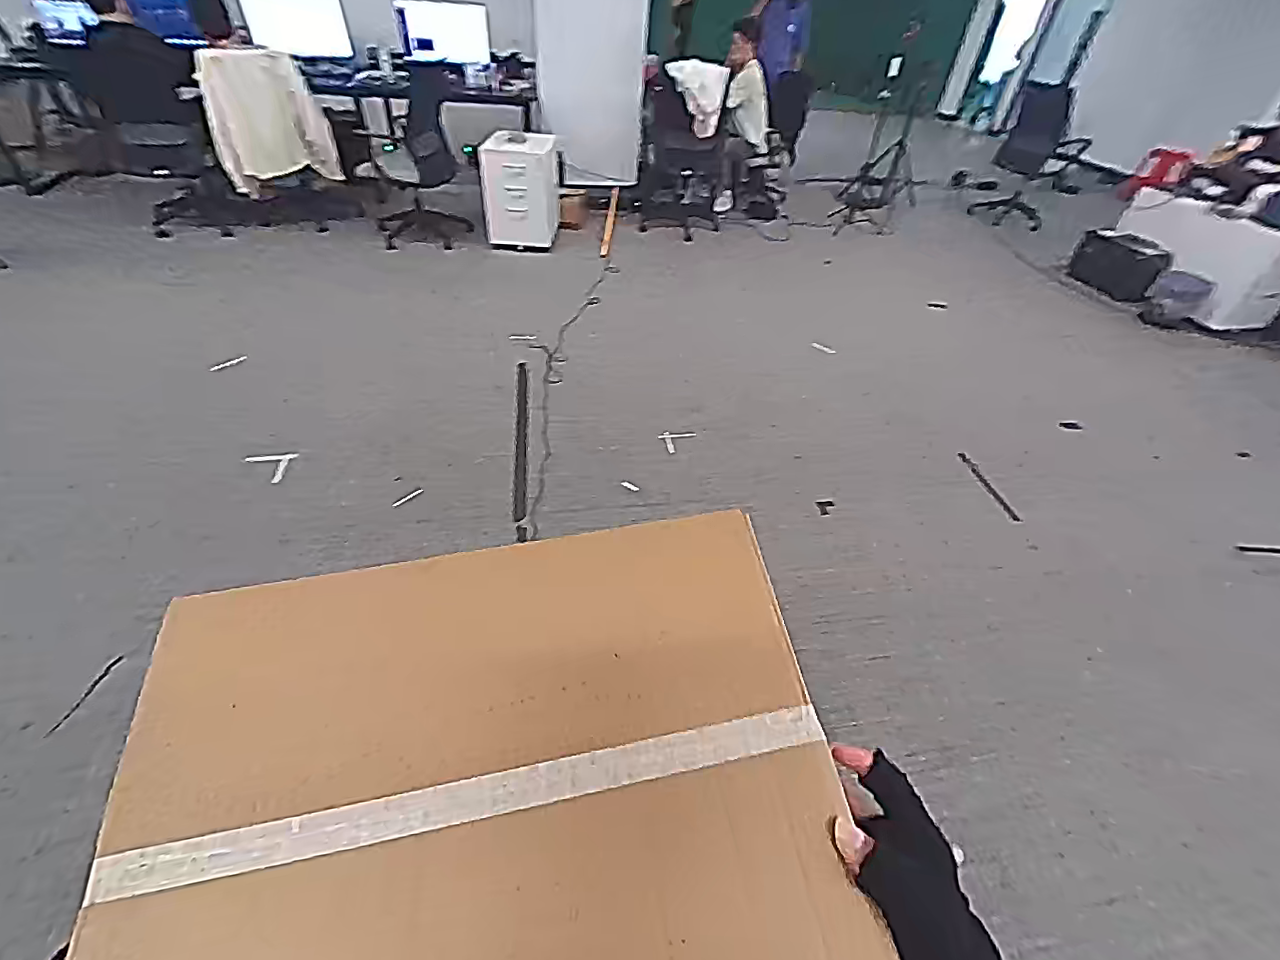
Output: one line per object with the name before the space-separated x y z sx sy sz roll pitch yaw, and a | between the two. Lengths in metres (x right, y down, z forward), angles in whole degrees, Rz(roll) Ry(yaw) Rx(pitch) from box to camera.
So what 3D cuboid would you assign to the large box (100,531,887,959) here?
large box | -0.086 0.274 0.441 0.408 0.320 0.320 -8 56 -6
